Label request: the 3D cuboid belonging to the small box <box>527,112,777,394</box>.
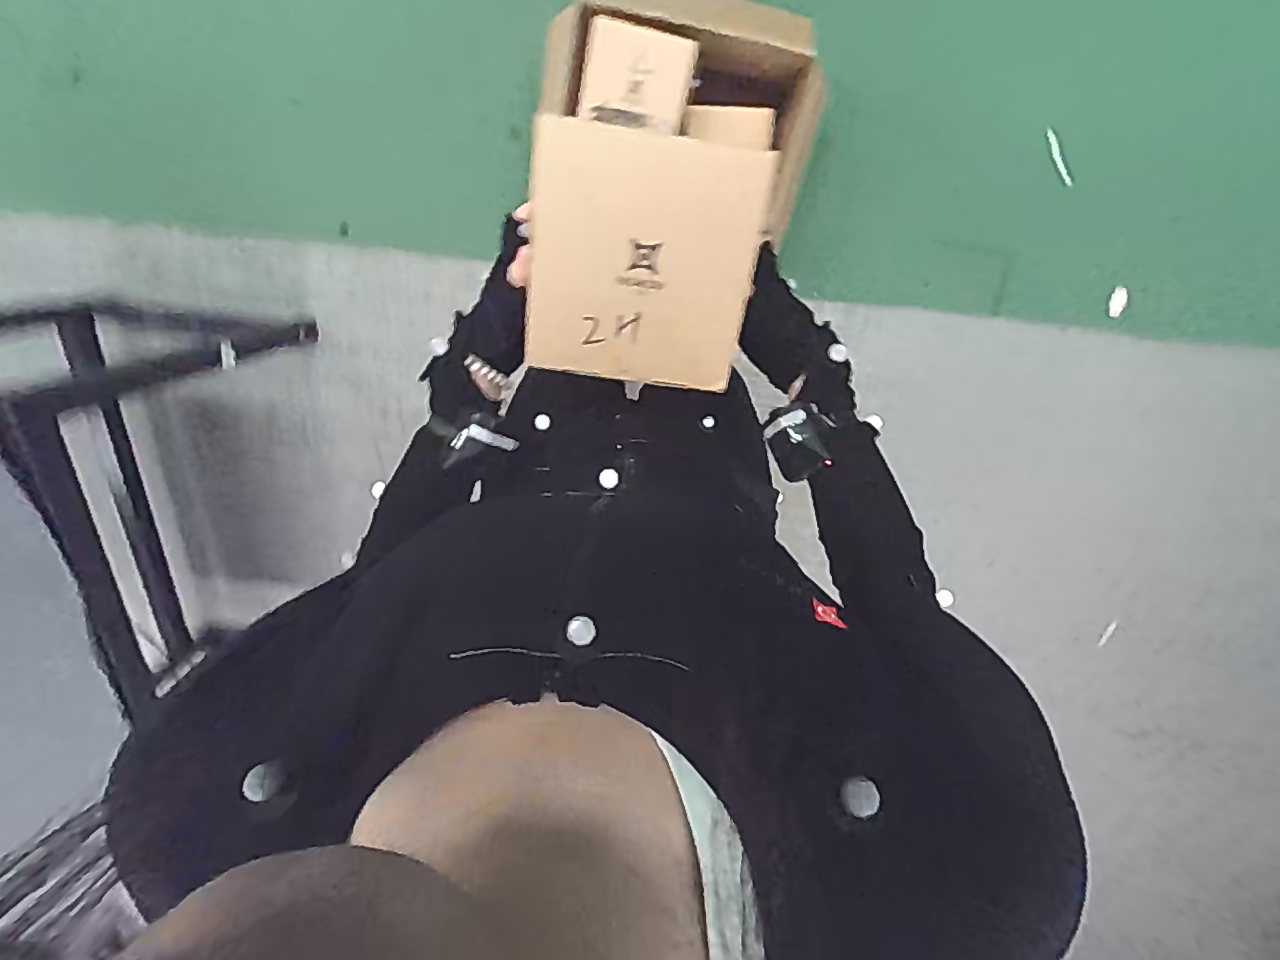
[{"bbox_3d":[0.001,-0.193,0.473,0.168,0.176,0.179,7,117,-4],"label":"small box"}]
